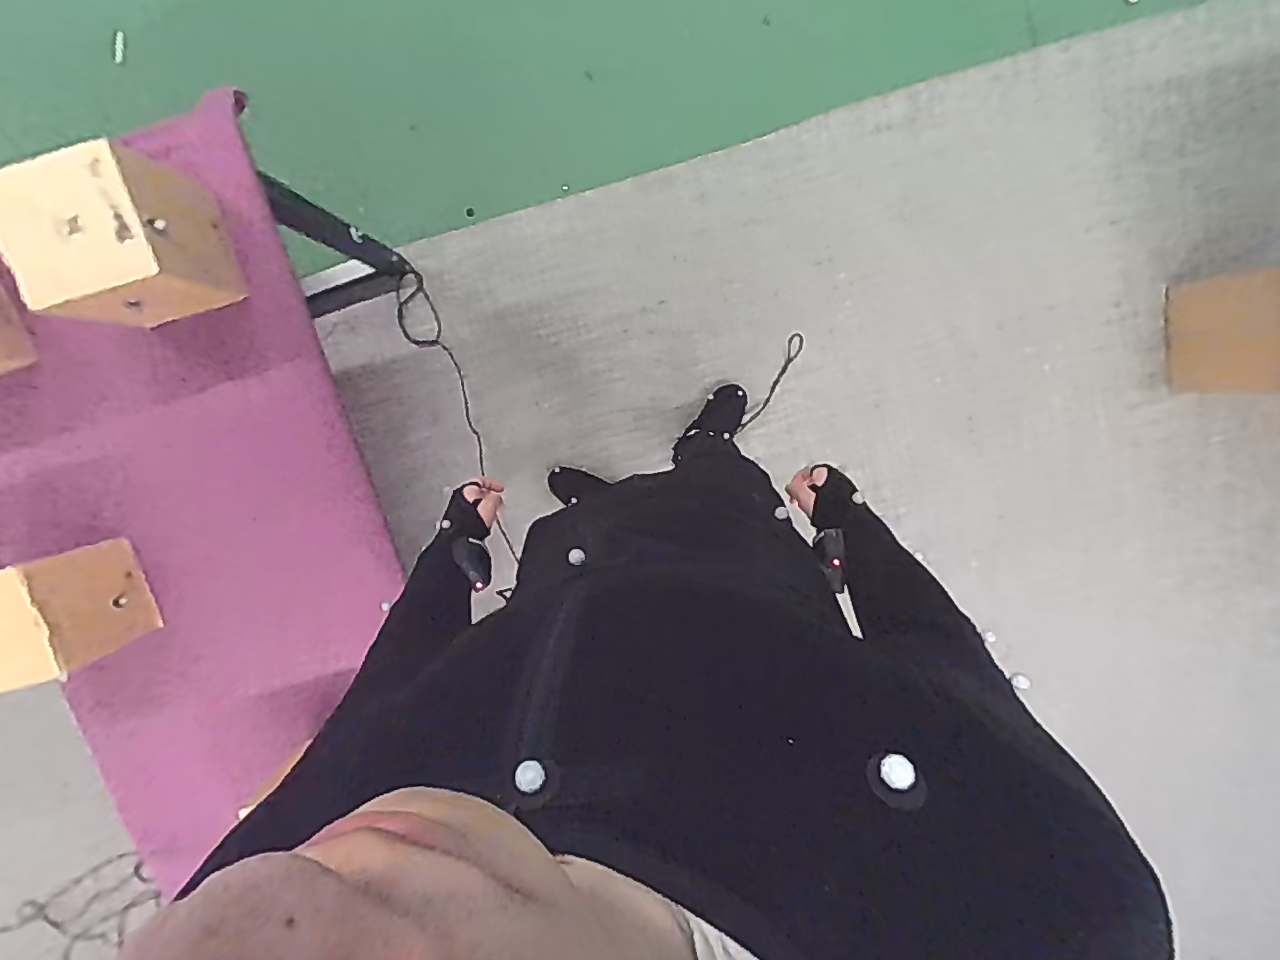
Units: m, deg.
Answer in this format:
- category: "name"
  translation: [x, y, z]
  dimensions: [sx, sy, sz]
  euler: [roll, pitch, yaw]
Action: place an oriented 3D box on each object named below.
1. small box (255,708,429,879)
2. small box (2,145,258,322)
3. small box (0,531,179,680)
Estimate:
- category: "small box"
  translation: [-0.479, 0.512, 0.905]
  dimensions: [0.179, 0.176, 0.168]
  euler: [-16, 98, 6]
- category: "small box"
  translation: [-0.705, -0.334, 0.772]
  dimensions: [0.179, 0.176, 0.168]
  euler: [-15, 100, 3]
- category: "small box"
  translation: [-0.911, 0.194, 0.866]
  dimensions: [0.179, 0.176, 0.168]
  euler: [-15, 98, 2]
